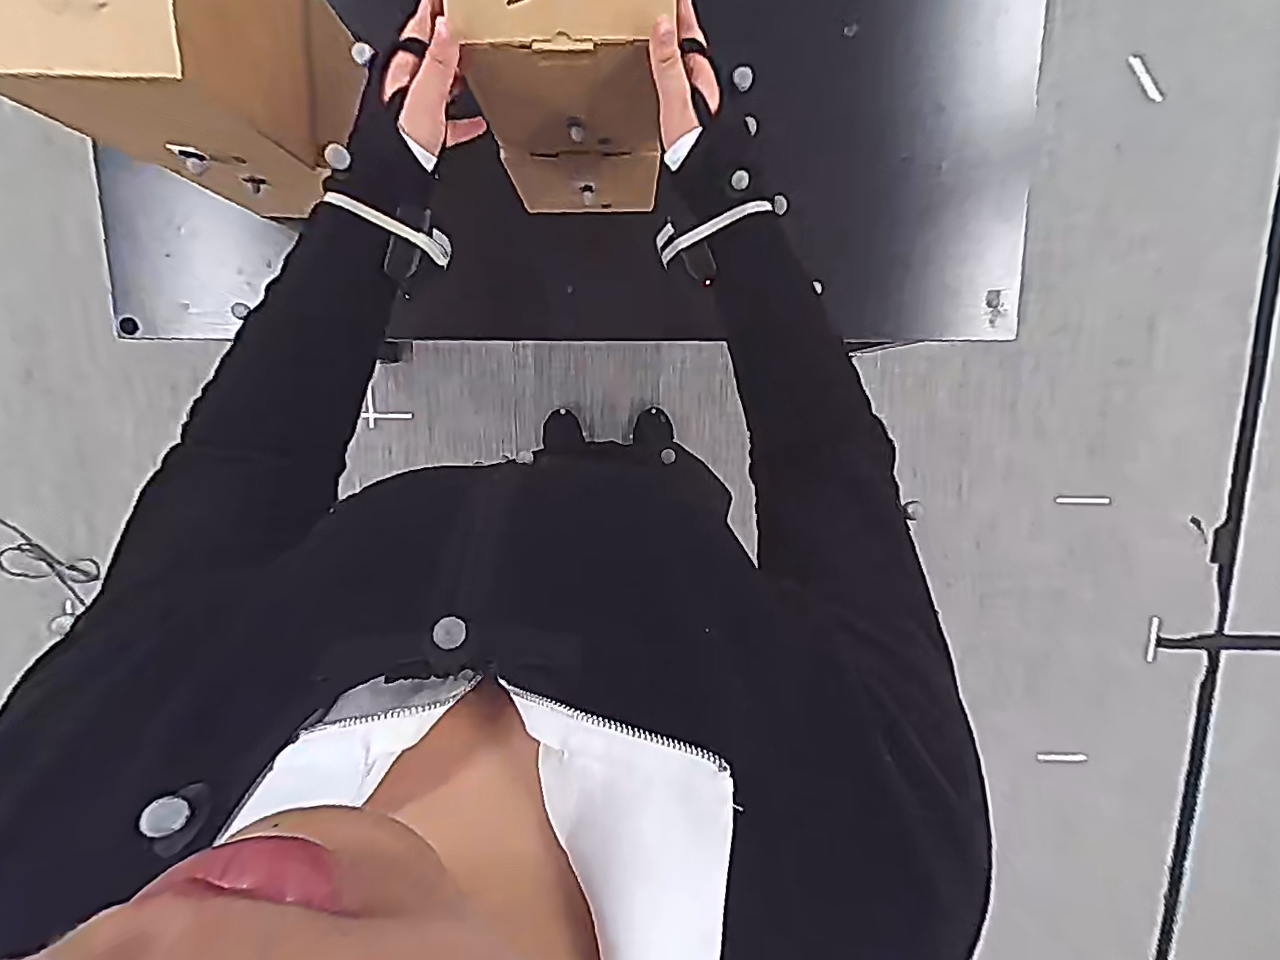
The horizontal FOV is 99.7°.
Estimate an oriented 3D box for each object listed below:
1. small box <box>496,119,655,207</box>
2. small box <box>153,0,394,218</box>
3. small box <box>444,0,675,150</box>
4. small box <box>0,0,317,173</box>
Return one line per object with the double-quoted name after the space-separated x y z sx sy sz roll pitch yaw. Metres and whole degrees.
-0.066 -0.428 0.619 0.168 0.176 0.179 -1 98 -1 "small box"
-0.403 -0.411 0.612 0.179 0.176 0.168 1 98 -3 "small box"
-0.059 -0.410 0.454 0.168 0.176 0.179 -1 97 0 "small box"
-0.401 -0.386 0.451 0.168 0.176 0.179 0 99 0 "small box"
